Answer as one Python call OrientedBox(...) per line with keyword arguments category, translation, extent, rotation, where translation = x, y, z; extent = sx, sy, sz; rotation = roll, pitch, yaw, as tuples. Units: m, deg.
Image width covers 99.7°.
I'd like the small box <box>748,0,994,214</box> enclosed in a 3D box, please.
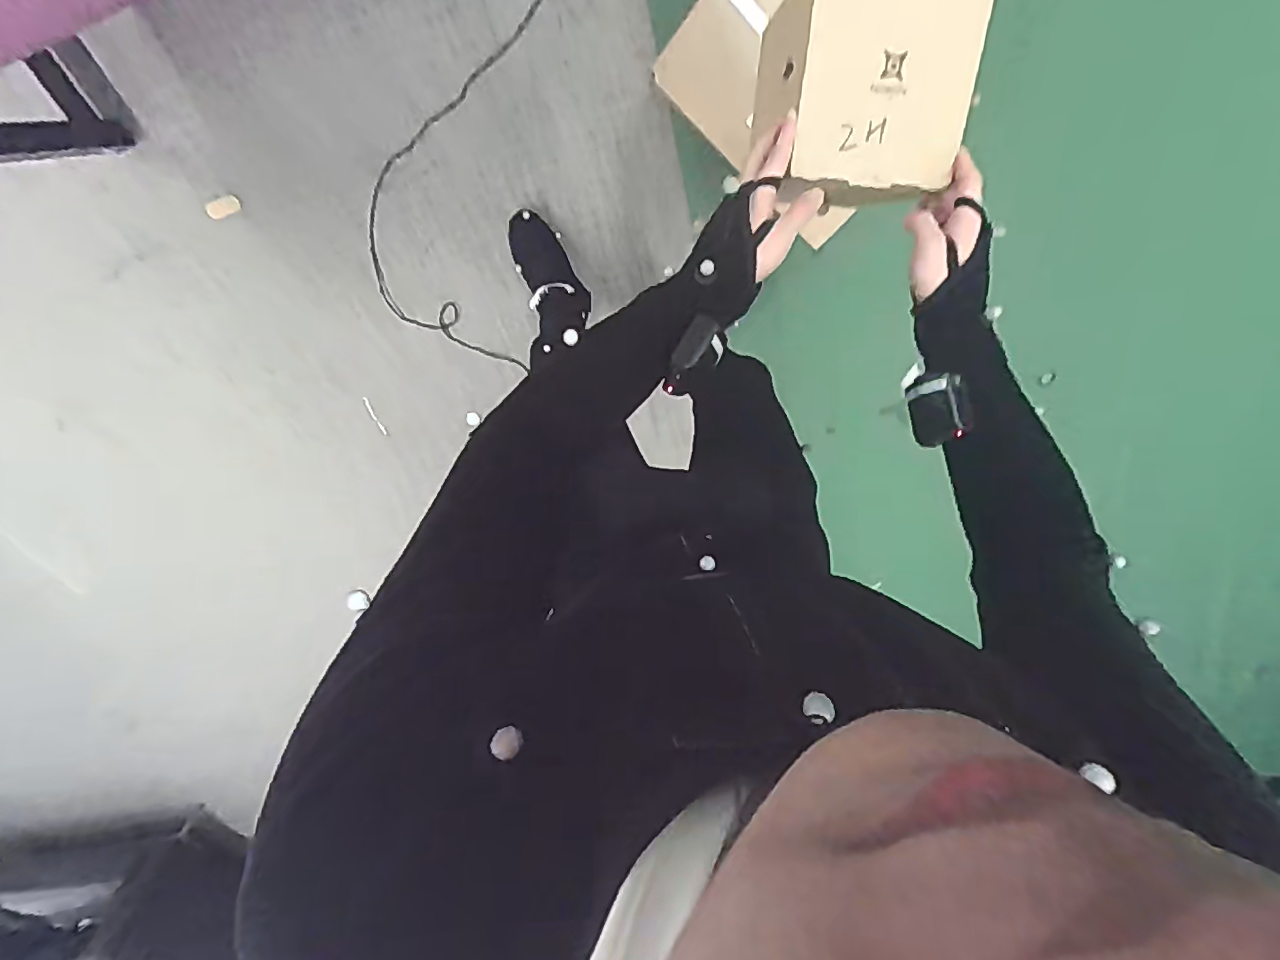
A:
OrientedBox(category="small box", translation=(0.221, -0.392, 0.566), extent=(0.168, 0.176, 0.179), rotation=(2, 109, -5))
